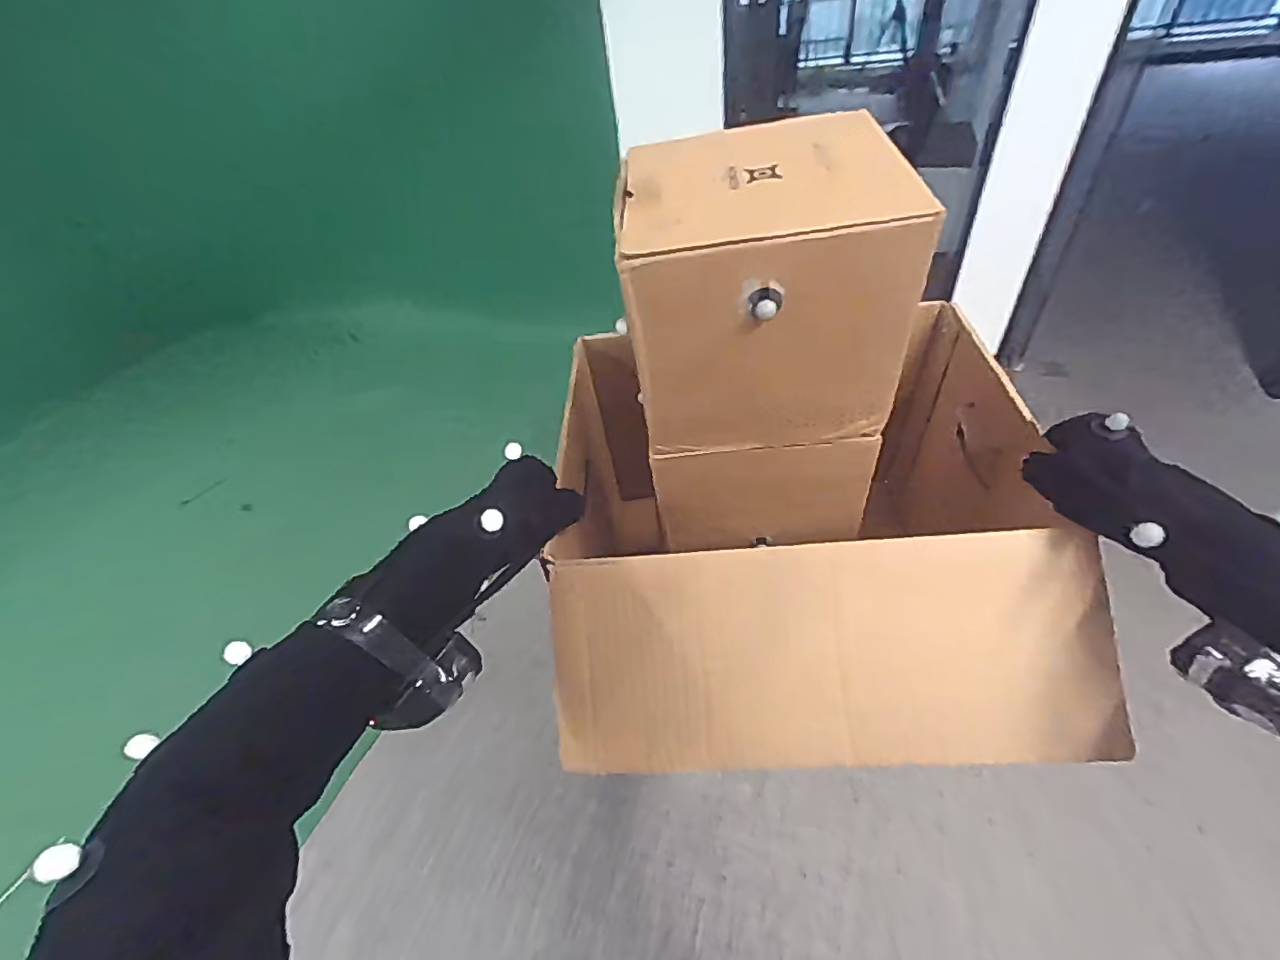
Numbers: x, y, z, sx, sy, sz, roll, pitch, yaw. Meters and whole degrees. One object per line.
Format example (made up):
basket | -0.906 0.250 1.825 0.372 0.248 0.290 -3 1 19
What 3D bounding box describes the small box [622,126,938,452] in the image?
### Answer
small box | 0.086 -0.136 0.408 0.179 0.176 0.168 -5 50 5
